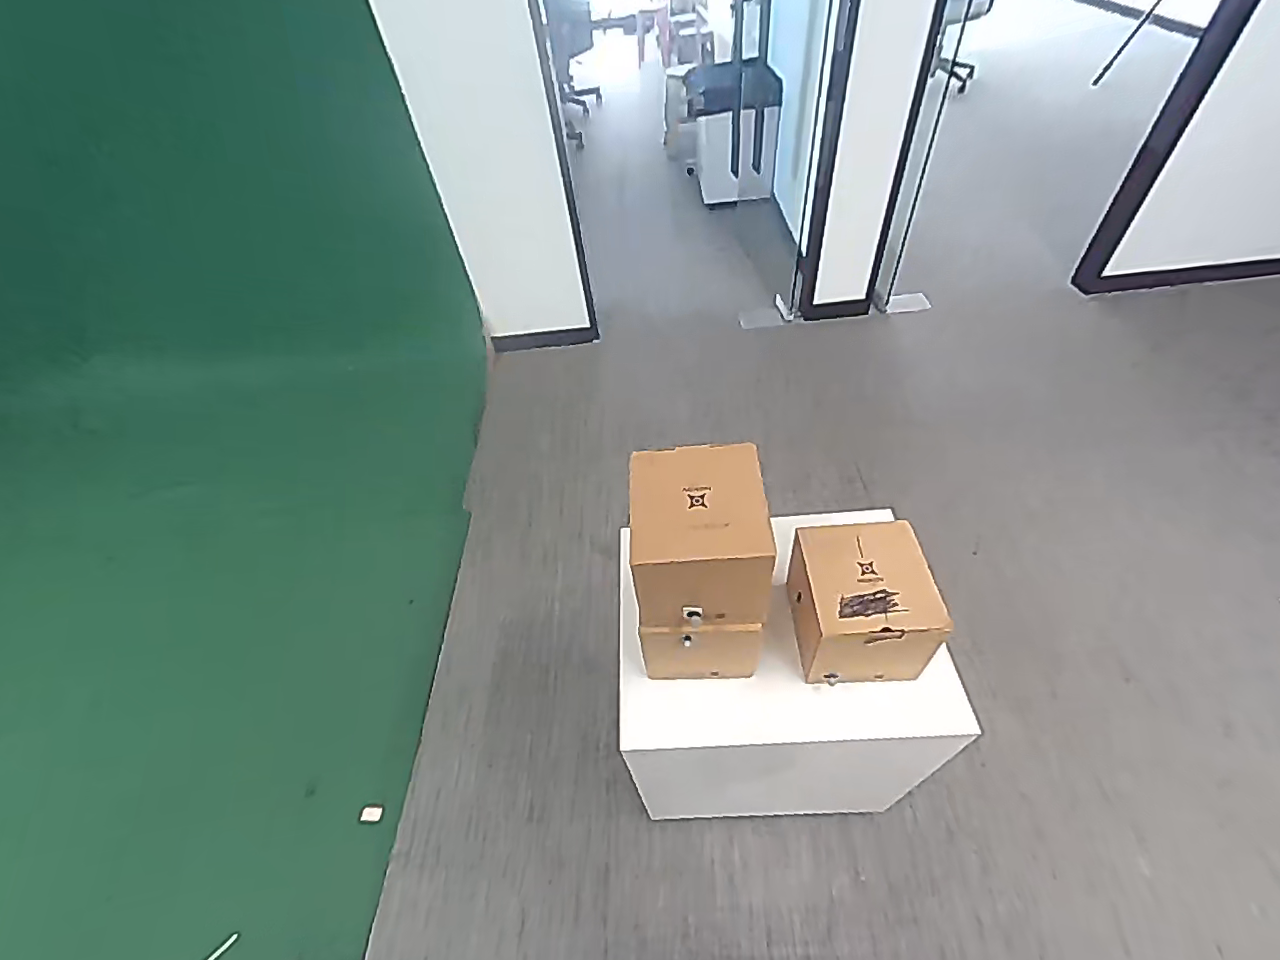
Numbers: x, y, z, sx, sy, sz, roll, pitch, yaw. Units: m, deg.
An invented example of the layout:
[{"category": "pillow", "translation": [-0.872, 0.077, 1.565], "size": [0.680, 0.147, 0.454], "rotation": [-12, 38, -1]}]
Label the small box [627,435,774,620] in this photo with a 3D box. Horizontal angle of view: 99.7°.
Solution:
[{"category": "small box", "translation": [0.072, 0.064, 0.710], "size": [0.168, 0.176, 0.179], "rotation": [-4, 50, 4]}]

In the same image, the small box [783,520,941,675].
[{"category": "small box", "translation": [0.316, 0.182, 0.812], "size": [0.168, 0.176, 0.179], "rotation": [-4, 47, 5]}]

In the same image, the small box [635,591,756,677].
[{"category": "small box", "translation": [0.084, 0.187, 0.838], "size": [0.168, 0.176, 0.179], "rotation": [-3, 47, 6]}]
